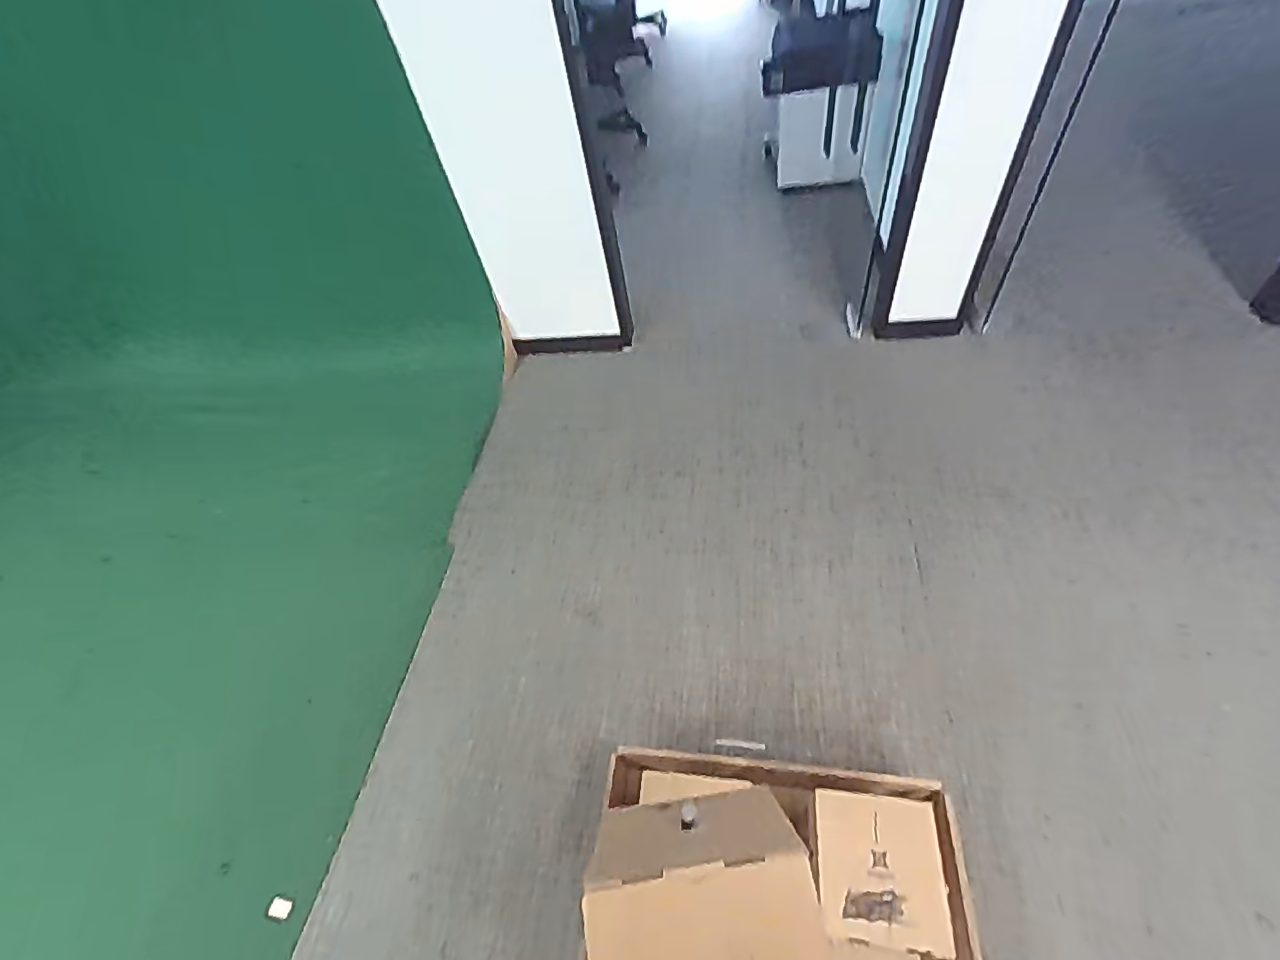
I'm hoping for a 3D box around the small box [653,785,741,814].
[{"bbox_3d":[0.106,0.690,0.998,0.168,0.176,0.179,4,52,13],"label":"small box"}]

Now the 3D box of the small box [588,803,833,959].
[{"bbox_3d":[0.056,0.381,0.434,0.168,0.176,0.179,-9,75,0],"label":"small box"}]

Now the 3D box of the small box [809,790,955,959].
[{"bbox_3d":[0.349,0.590,0.816,0.168,0.176,0.179,1,52,12],"label":"small box"}]
